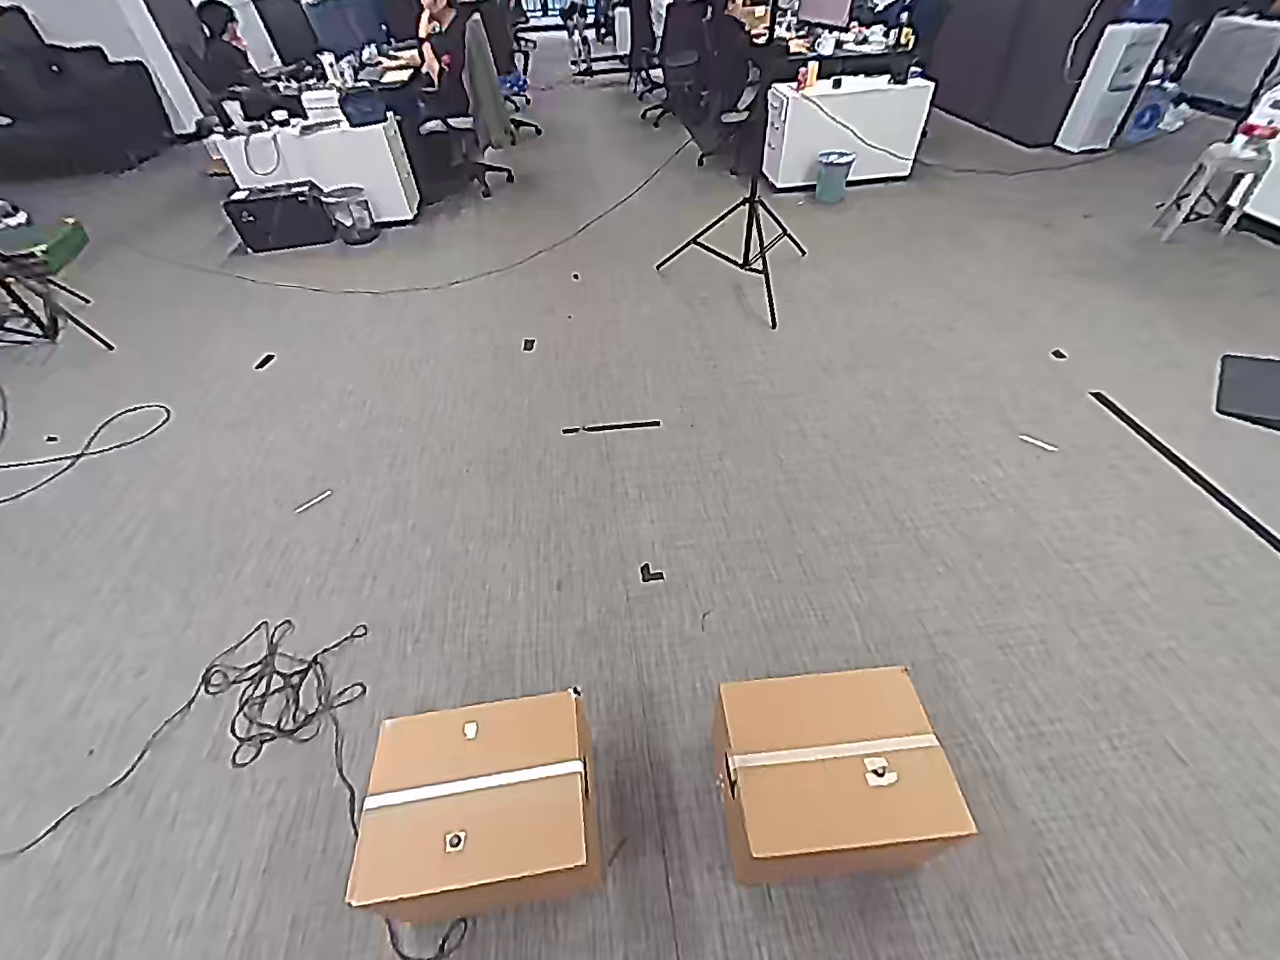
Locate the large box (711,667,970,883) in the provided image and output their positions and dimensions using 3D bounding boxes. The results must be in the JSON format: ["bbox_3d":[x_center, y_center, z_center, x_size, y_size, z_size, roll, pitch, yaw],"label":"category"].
[{"bbox_3d":[0.385,0.633,1.163,0.408,0.320,0.320,-4,46,-2],"label":"large box"}]
